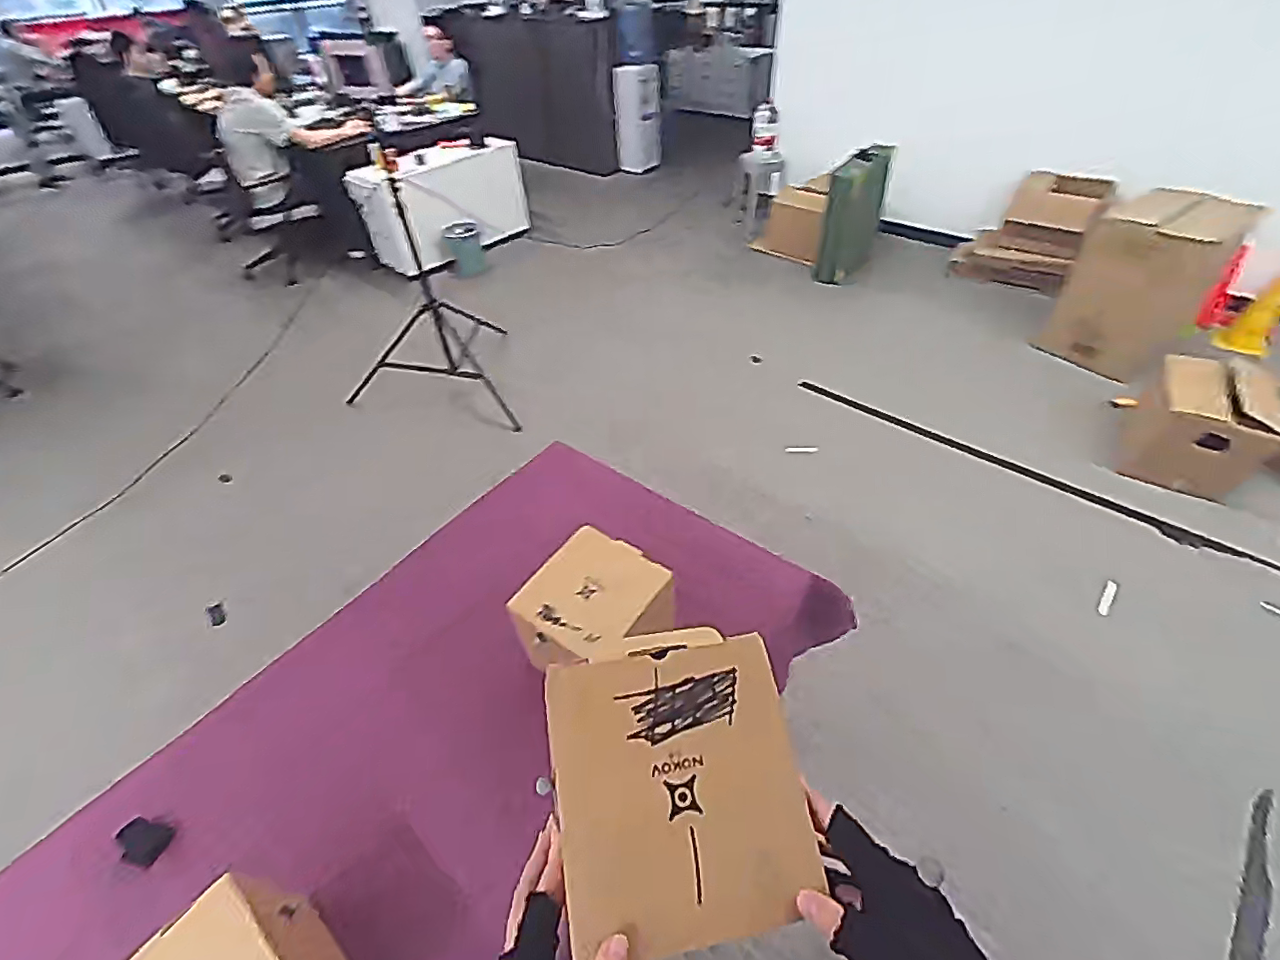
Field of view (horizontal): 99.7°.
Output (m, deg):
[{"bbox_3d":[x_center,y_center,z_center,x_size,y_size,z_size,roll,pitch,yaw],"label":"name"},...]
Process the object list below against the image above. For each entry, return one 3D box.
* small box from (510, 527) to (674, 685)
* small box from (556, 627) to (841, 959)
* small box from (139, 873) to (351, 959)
[{"bbox_3d":[-0.064,0.210,0.812,0.168,0.176,0.179,25,51,27],"label":"small box"},{"bbox_3d":[0.023,0.232,0.431,0.168,0.176,0.179,-5,63,-12],"label":"small box"},{"bbox_3d":[-0.385,0.528,0.512,0.179,0.176,0.168,27,53,27],"label":"small box"}]
